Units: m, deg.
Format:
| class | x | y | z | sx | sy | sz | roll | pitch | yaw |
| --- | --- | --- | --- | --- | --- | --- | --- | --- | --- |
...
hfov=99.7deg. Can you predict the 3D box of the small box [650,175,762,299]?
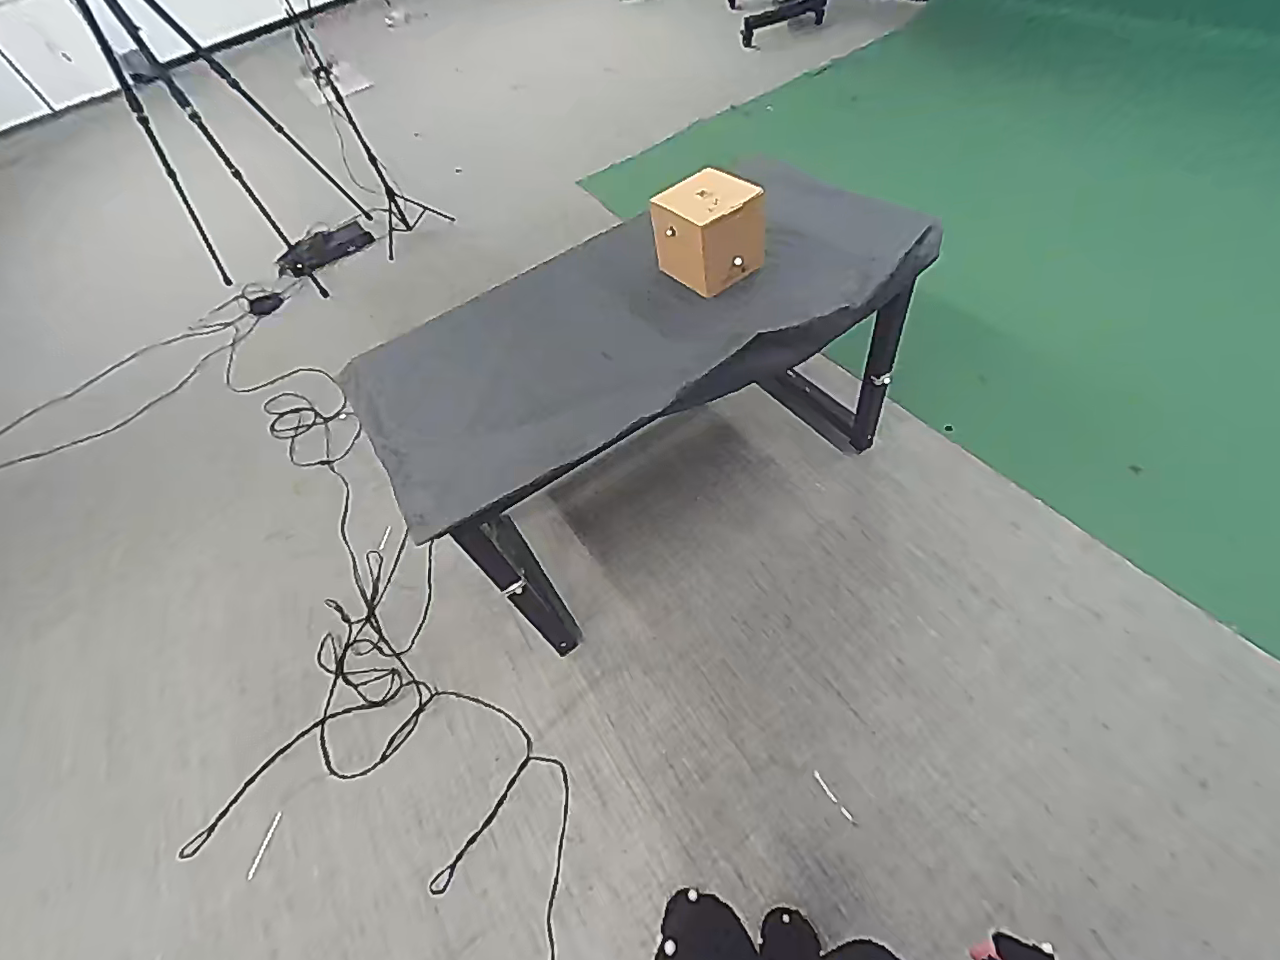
| class | x | y | z | sx | sy | sz | roll | pitch | yaw |
| --- | --- | --- | --- | --- | --- | --- | --- | --- | --- |
| small box | 0.145 | -0.524 | 1.175 | 0.168 | 0.176 | 0.179 | -34 | 55 | -13 |
